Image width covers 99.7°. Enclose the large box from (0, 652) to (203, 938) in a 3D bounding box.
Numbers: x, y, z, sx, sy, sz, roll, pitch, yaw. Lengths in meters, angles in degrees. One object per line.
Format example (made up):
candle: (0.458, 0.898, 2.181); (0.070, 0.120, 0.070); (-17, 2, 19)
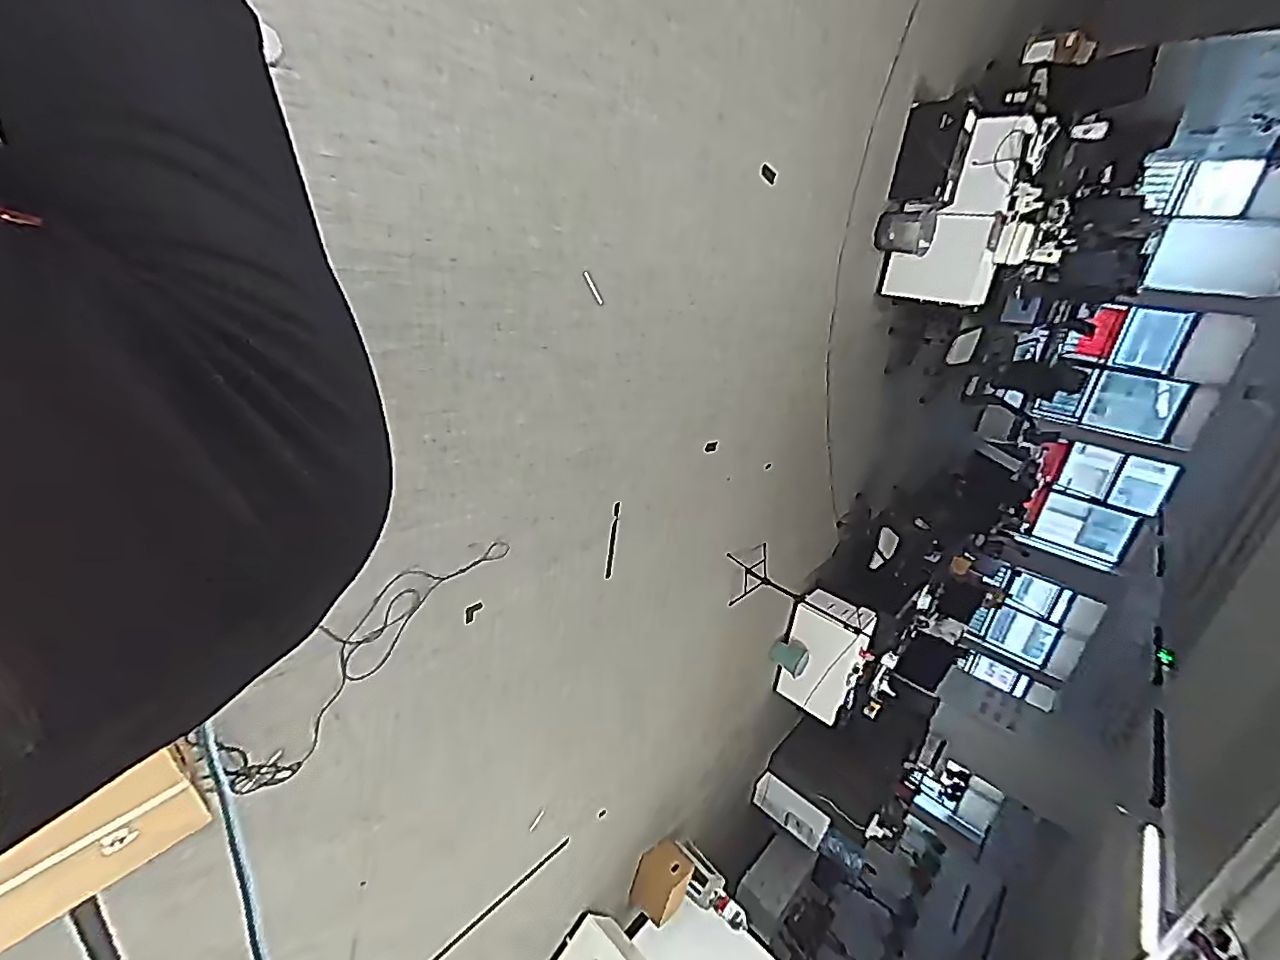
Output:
large box: (-1.244, 0.647, 1.129); (0.408, 0.320, 0.320); (-27, 129, -41)
